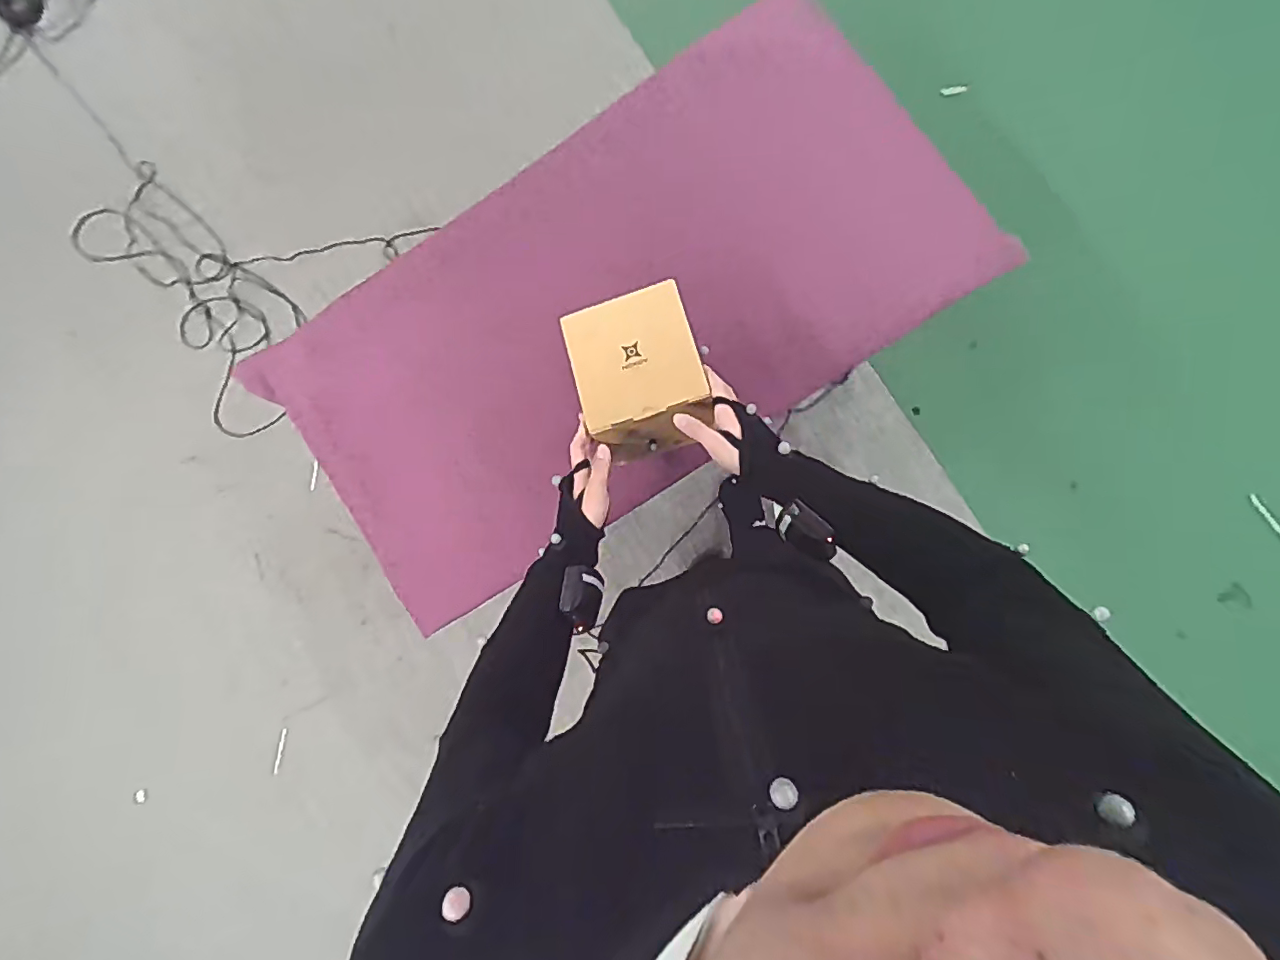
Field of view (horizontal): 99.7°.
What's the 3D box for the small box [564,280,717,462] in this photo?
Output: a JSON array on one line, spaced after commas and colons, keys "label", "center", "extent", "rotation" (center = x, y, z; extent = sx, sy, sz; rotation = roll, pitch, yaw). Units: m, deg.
[{"label": "small box", "center": [0.007, -0.144, 0.769], "extent": [0.168, 0.176, 0.179], "rotation": [-17, 77, 6]}]
